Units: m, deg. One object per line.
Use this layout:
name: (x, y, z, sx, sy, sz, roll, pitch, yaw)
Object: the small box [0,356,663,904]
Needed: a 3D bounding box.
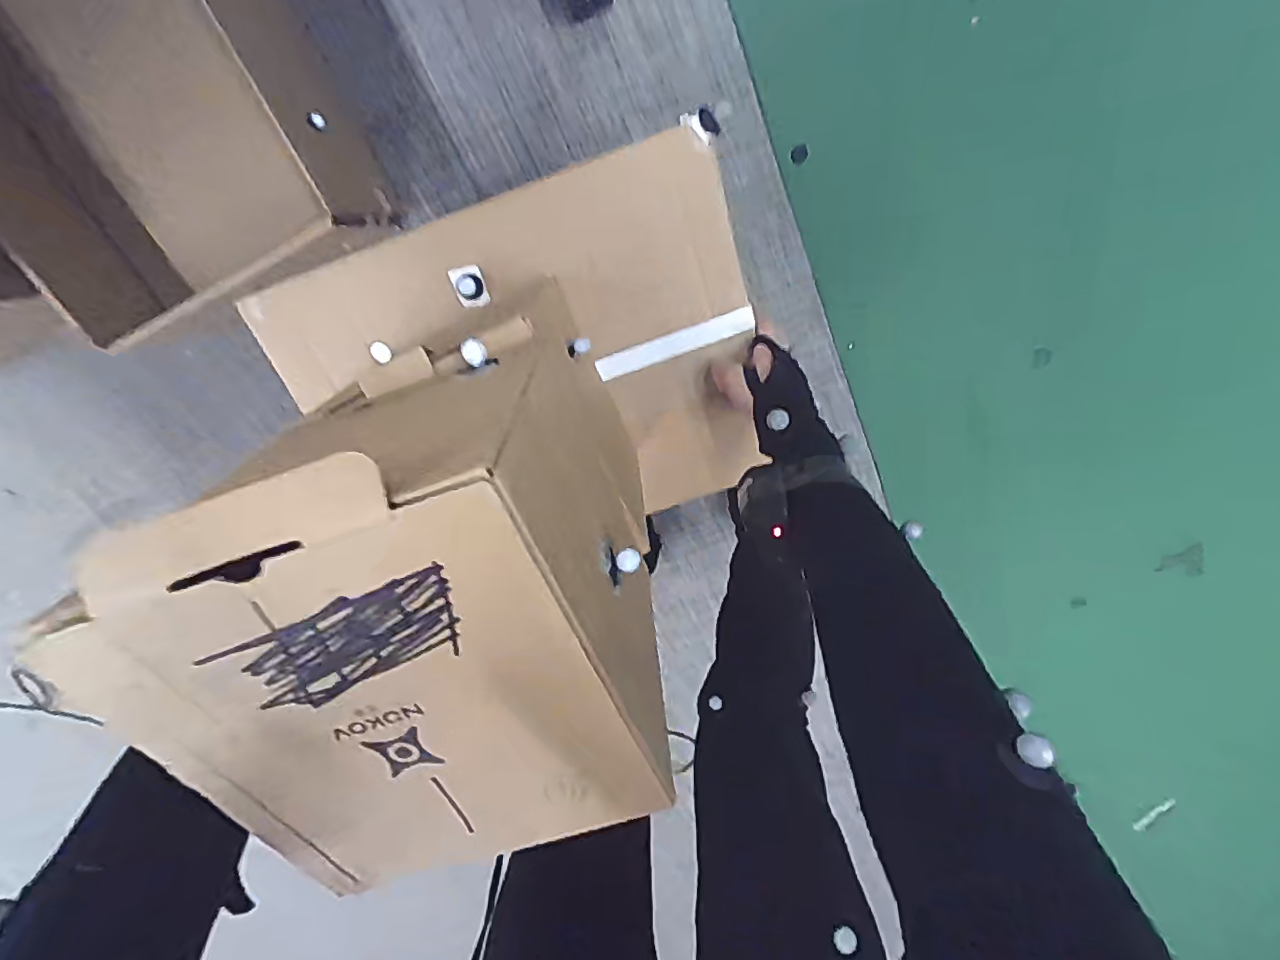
small box: (-0.099, 0.053, 0.264, 0.168, 0.176, 0.179, -18, 118, 6)
